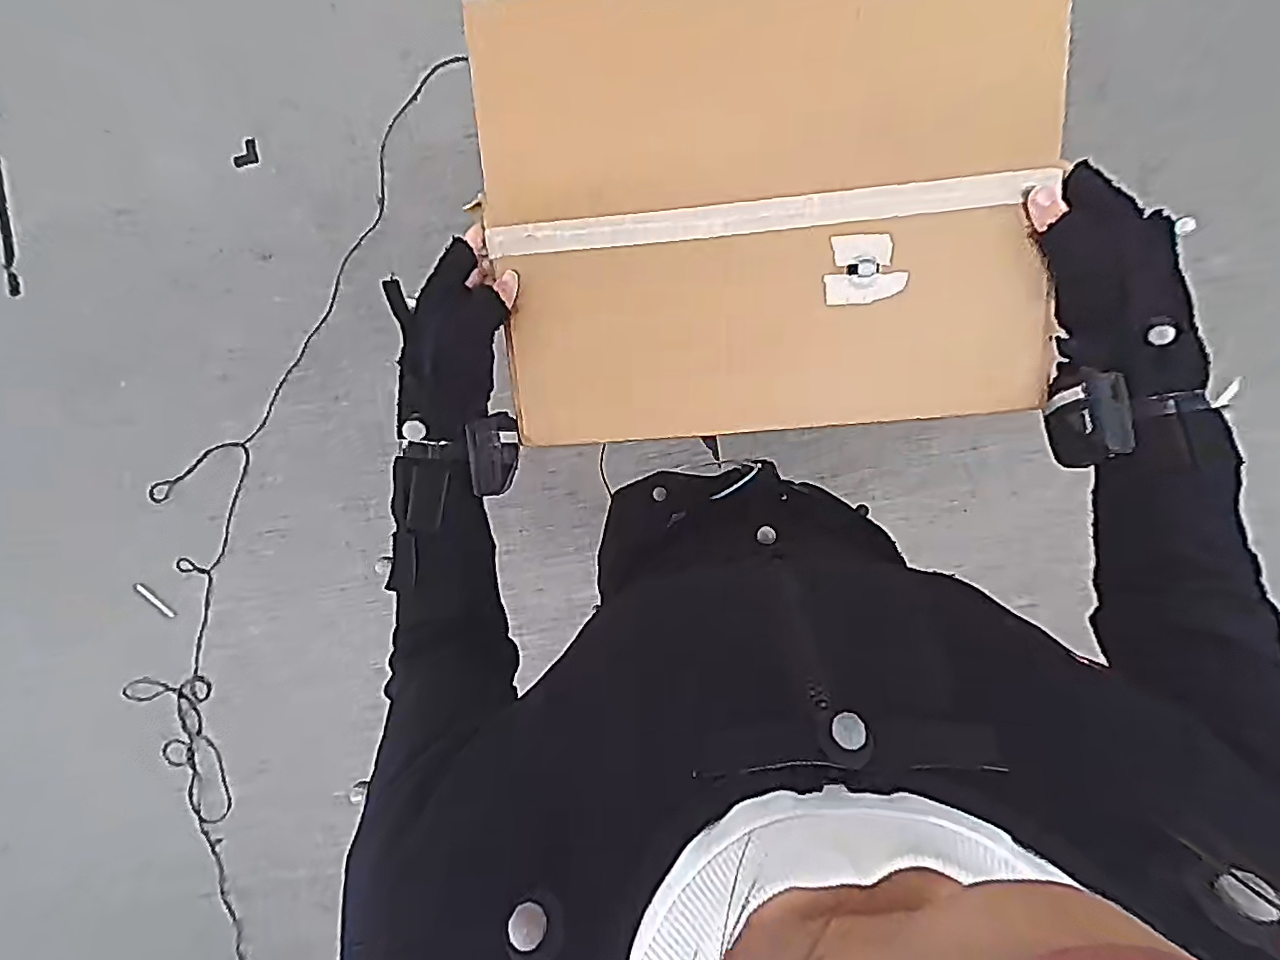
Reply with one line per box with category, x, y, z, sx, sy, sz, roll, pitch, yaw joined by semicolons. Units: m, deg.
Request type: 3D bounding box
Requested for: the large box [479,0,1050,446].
large box;0.099;-0.225;0.549;0.408;0.320;0.320;-5;102;3
